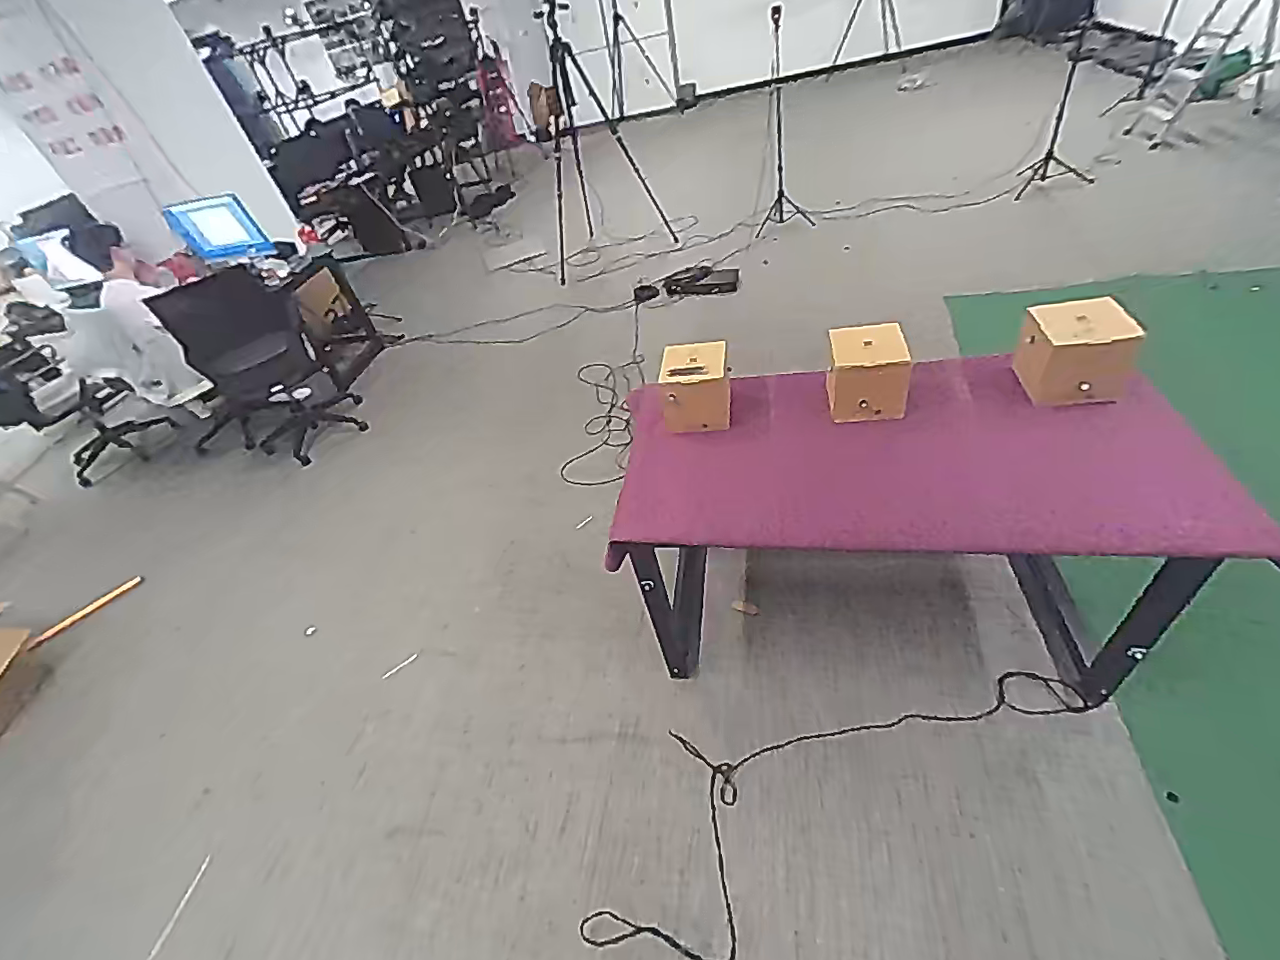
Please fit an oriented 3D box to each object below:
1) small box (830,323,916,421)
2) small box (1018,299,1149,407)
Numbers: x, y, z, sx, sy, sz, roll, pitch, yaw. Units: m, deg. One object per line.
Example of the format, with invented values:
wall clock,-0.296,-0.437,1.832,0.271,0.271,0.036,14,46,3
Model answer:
small box,0.570,-0.267,1.347,0.168,0.176,0.179,-2,45,14
small box,0.997,-0.288,1.237,0.168,0.176,0.179,-3,44,17
